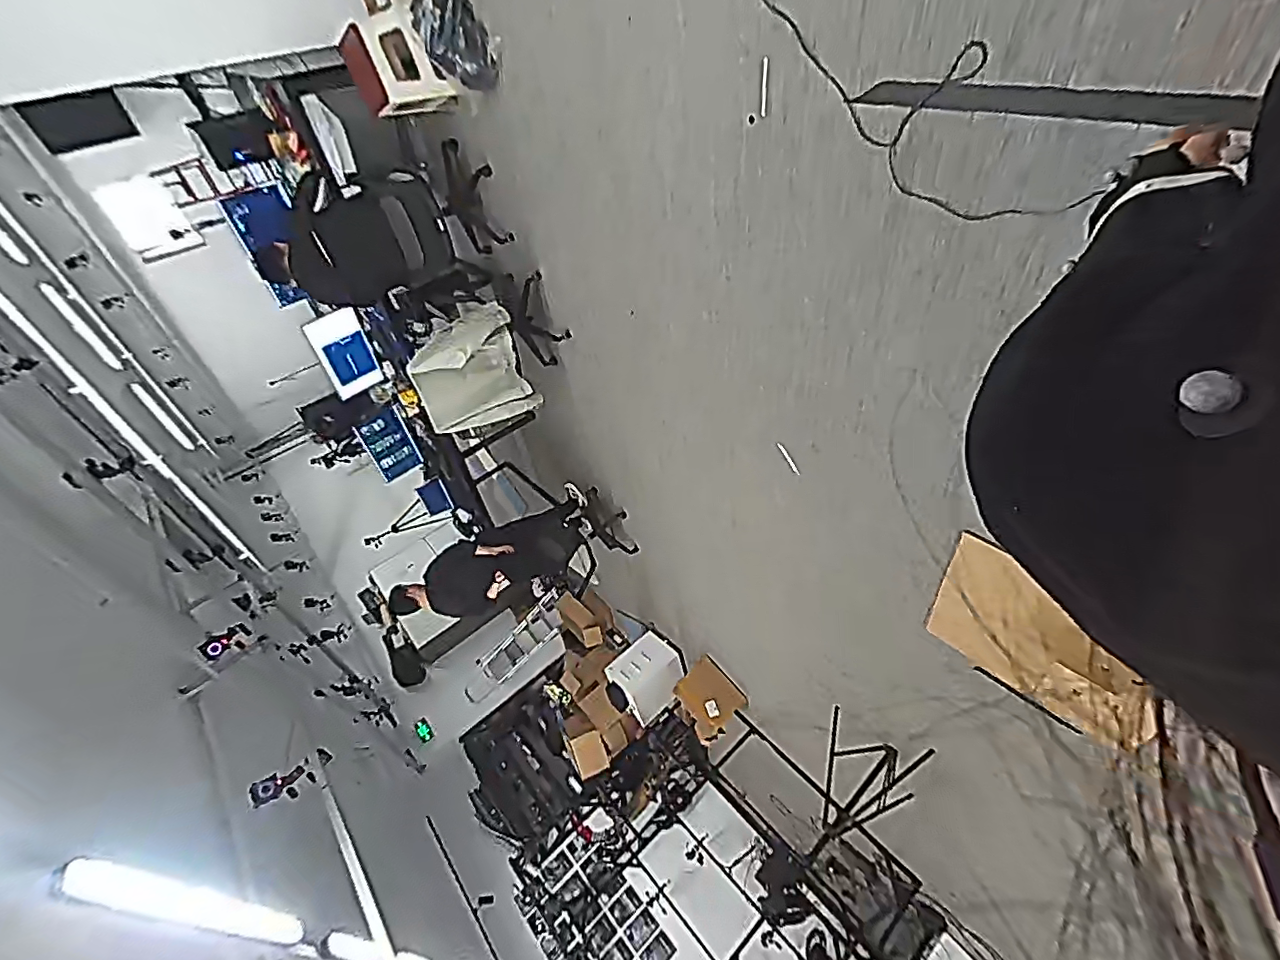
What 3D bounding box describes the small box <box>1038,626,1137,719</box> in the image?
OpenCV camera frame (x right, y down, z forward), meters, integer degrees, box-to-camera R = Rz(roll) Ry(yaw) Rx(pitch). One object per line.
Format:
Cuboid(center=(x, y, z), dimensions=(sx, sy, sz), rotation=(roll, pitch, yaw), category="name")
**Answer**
Cuboid(center=(1.373, 0.584, 1.659), dimensions=(0.168, 0.176, 0.179), rotation=(33, 148, 40), category="small box")
